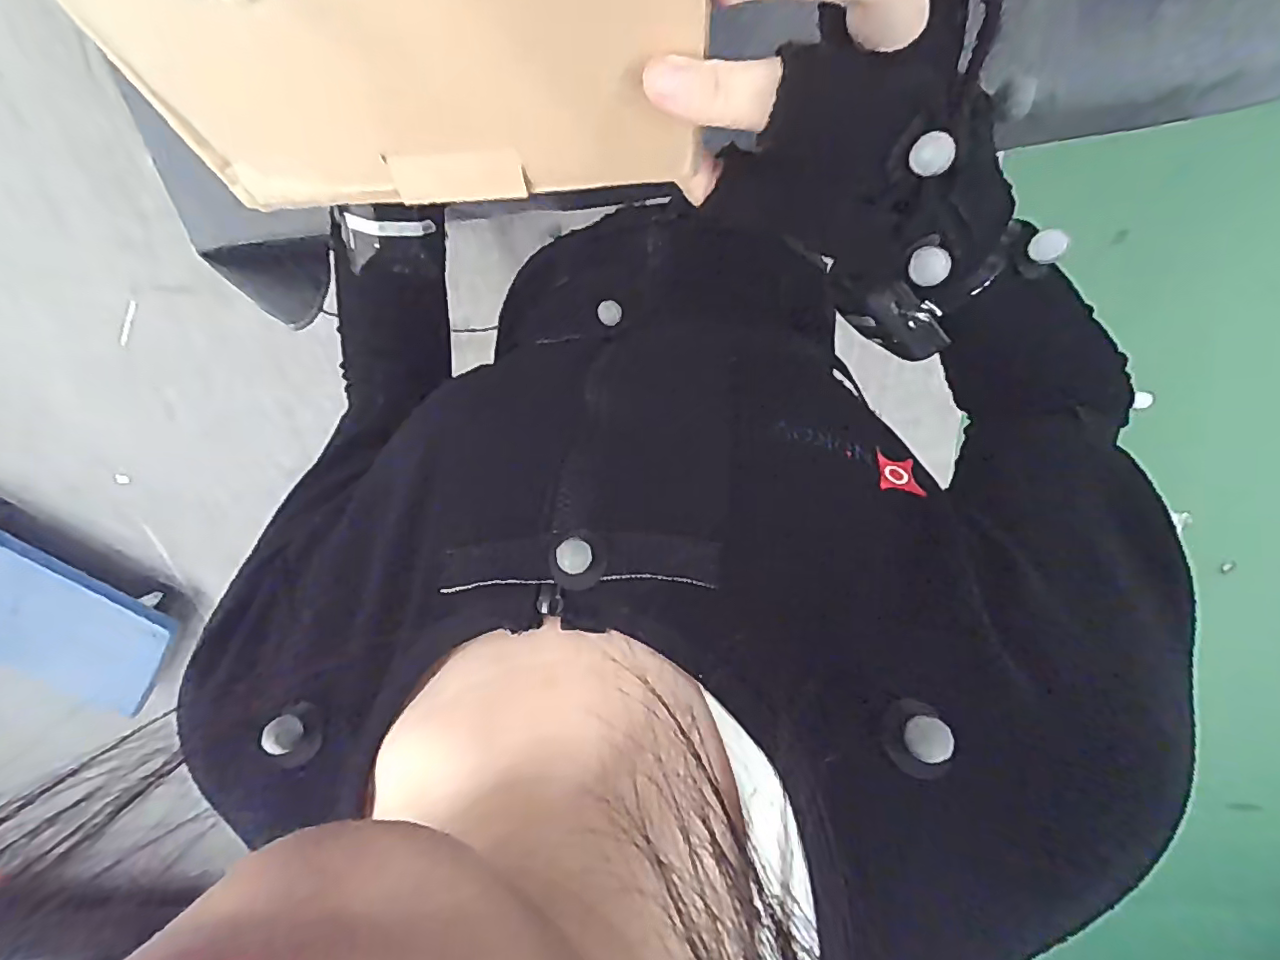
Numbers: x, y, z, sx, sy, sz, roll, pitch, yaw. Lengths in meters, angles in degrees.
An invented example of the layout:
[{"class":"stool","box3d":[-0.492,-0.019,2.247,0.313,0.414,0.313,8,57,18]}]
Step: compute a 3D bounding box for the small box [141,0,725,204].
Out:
[{"class":"small box","box3d":[-0.064,-0.214,0.147,0.168,0.179,0.176,-3,160,2]}]
